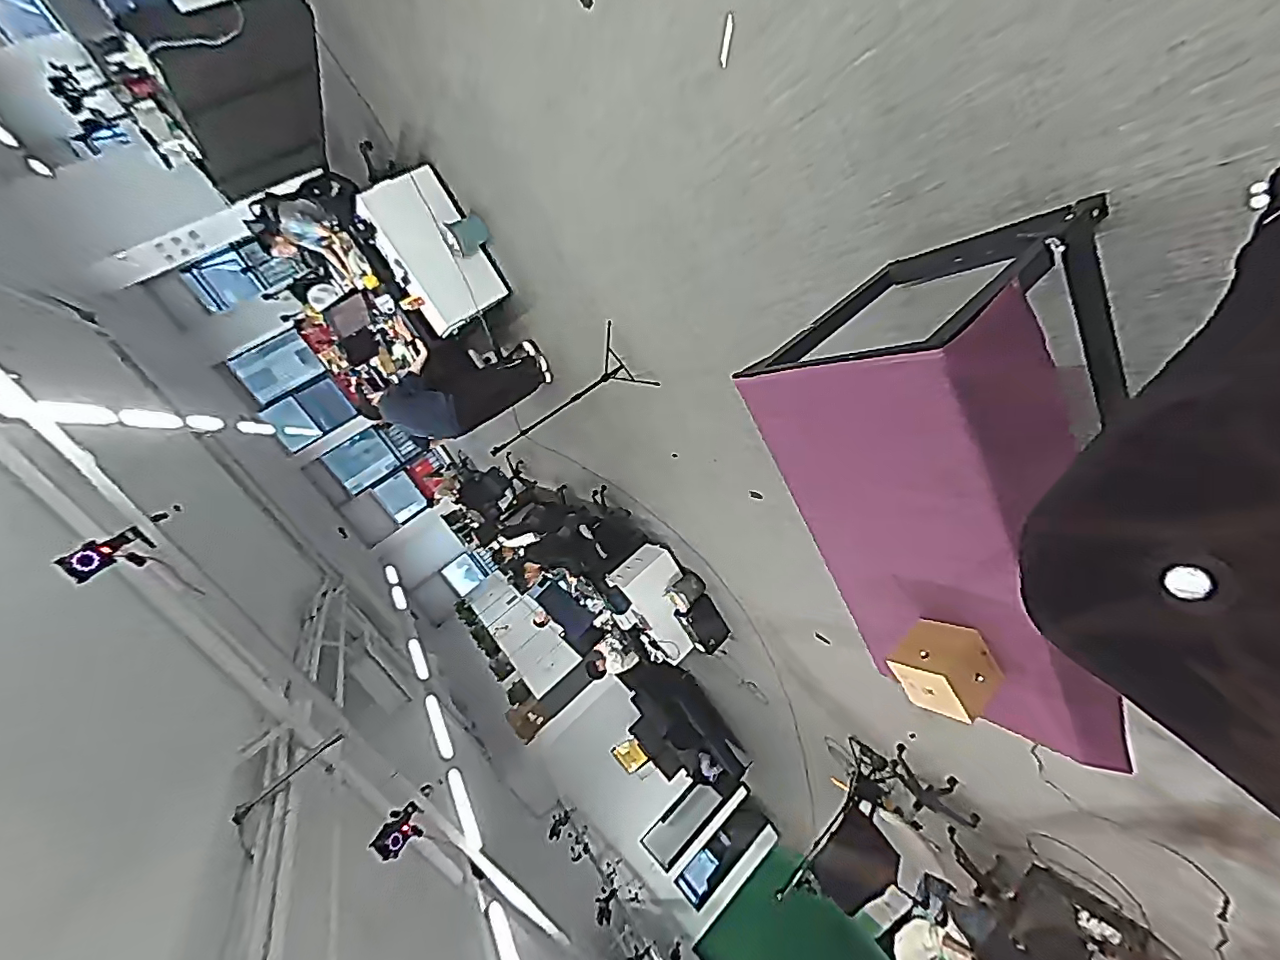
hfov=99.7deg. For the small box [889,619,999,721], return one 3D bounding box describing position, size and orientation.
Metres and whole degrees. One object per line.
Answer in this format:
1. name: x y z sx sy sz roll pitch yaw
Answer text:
1. small box: 0.810 0.491 1.429 0.168 0.176 0.179 56 160 -11
